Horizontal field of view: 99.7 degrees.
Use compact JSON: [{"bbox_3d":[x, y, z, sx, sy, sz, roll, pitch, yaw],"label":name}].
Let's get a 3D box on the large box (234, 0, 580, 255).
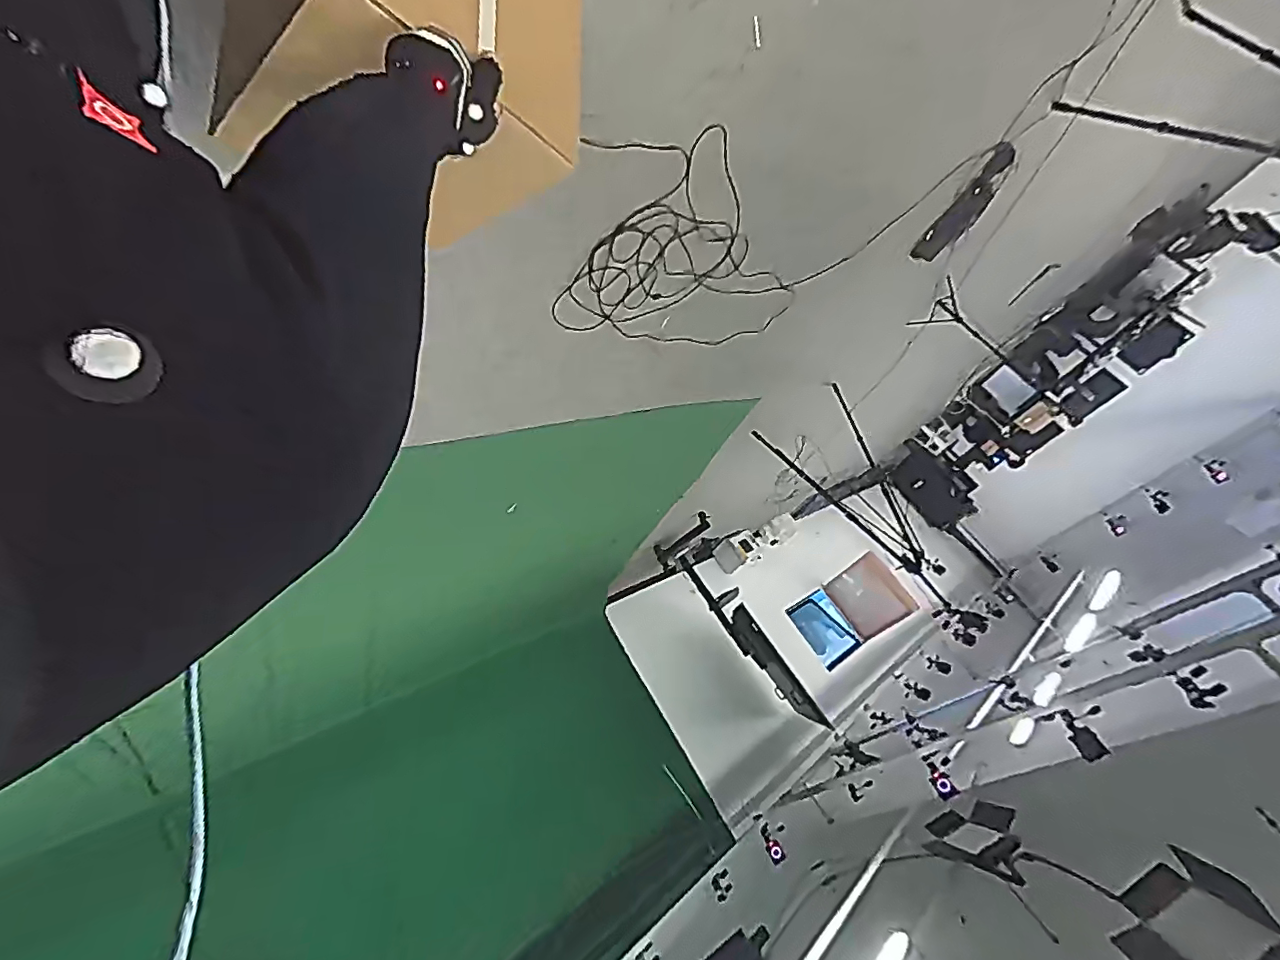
[{"bbox_3d":[-0.298,-0.592,0.716,0.320,0.408,0.320,-8,169,36],"label":"large box"}]
